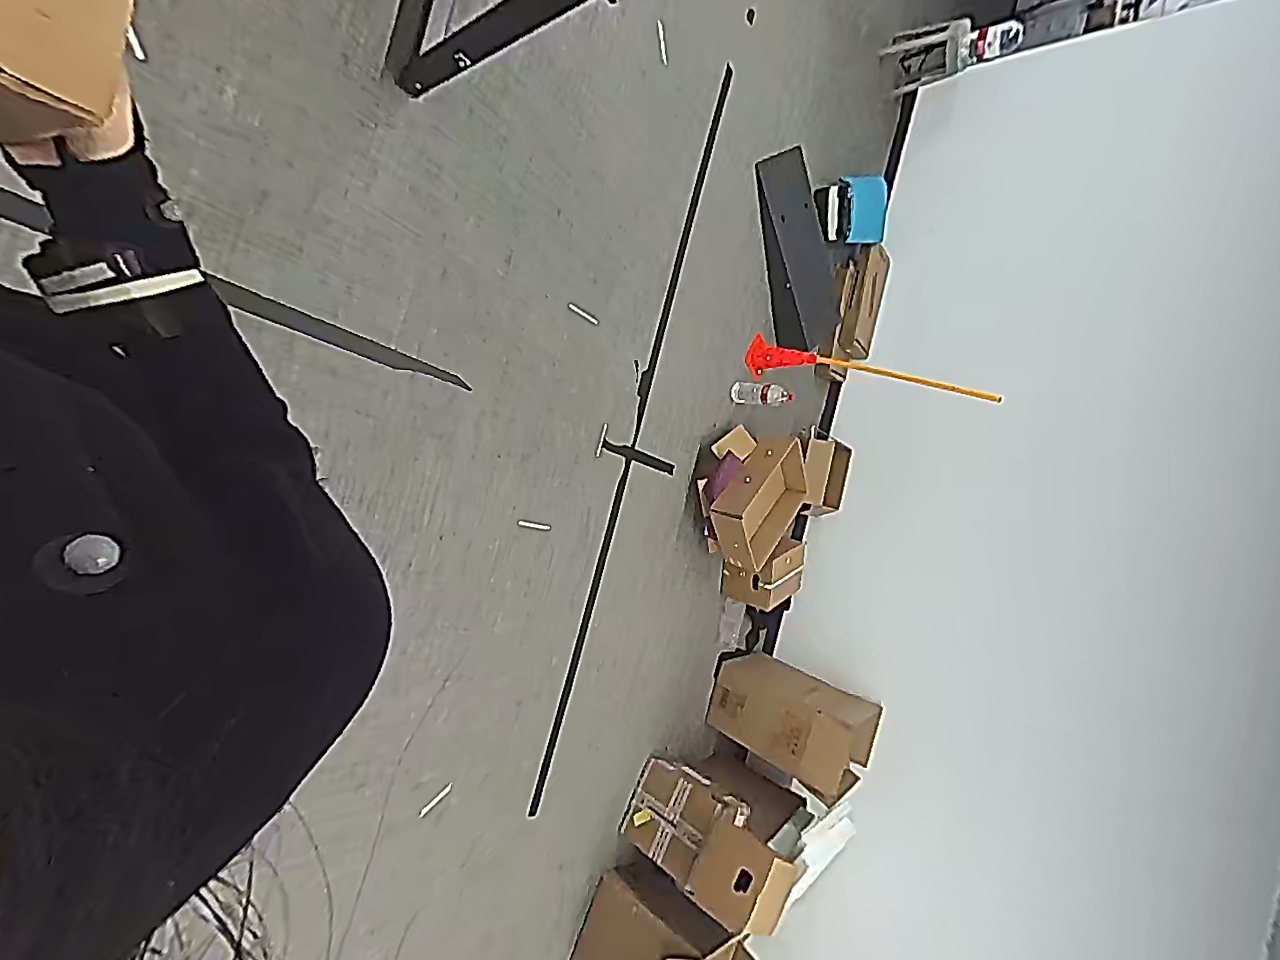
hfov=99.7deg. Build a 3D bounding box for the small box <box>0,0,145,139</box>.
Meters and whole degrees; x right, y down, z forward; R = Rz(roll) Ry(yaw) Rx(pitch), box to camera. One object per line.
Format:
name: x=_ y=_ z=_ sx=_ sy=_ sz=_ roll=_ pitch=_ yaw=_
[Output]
small box: x=-0.313 y=-0.260 z=0.202 sx=0.168 sy=0.176 sz=0.179 roll=11 pitch=94 yaw=-62
